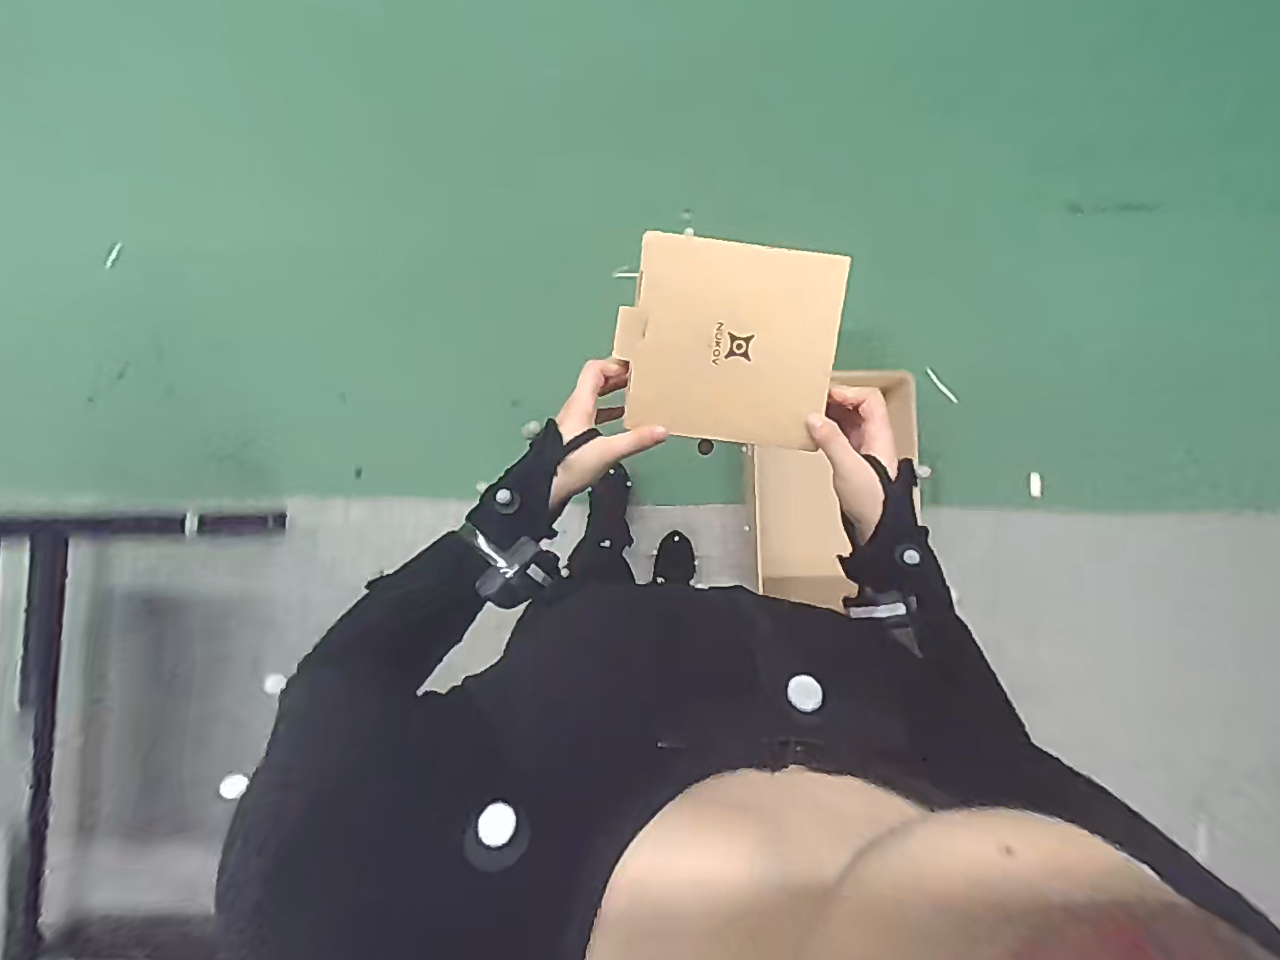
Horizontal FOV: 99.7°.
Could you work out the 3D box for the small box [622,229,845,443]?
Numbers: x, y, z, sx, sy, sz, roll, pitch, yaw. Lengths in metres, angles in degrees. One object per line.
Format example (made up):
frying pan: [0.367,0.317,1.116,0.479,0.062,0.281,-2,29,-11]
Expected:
small box: [0.077,-0.134,0.538,0.179,0.176,0.168,5,100,-1]
